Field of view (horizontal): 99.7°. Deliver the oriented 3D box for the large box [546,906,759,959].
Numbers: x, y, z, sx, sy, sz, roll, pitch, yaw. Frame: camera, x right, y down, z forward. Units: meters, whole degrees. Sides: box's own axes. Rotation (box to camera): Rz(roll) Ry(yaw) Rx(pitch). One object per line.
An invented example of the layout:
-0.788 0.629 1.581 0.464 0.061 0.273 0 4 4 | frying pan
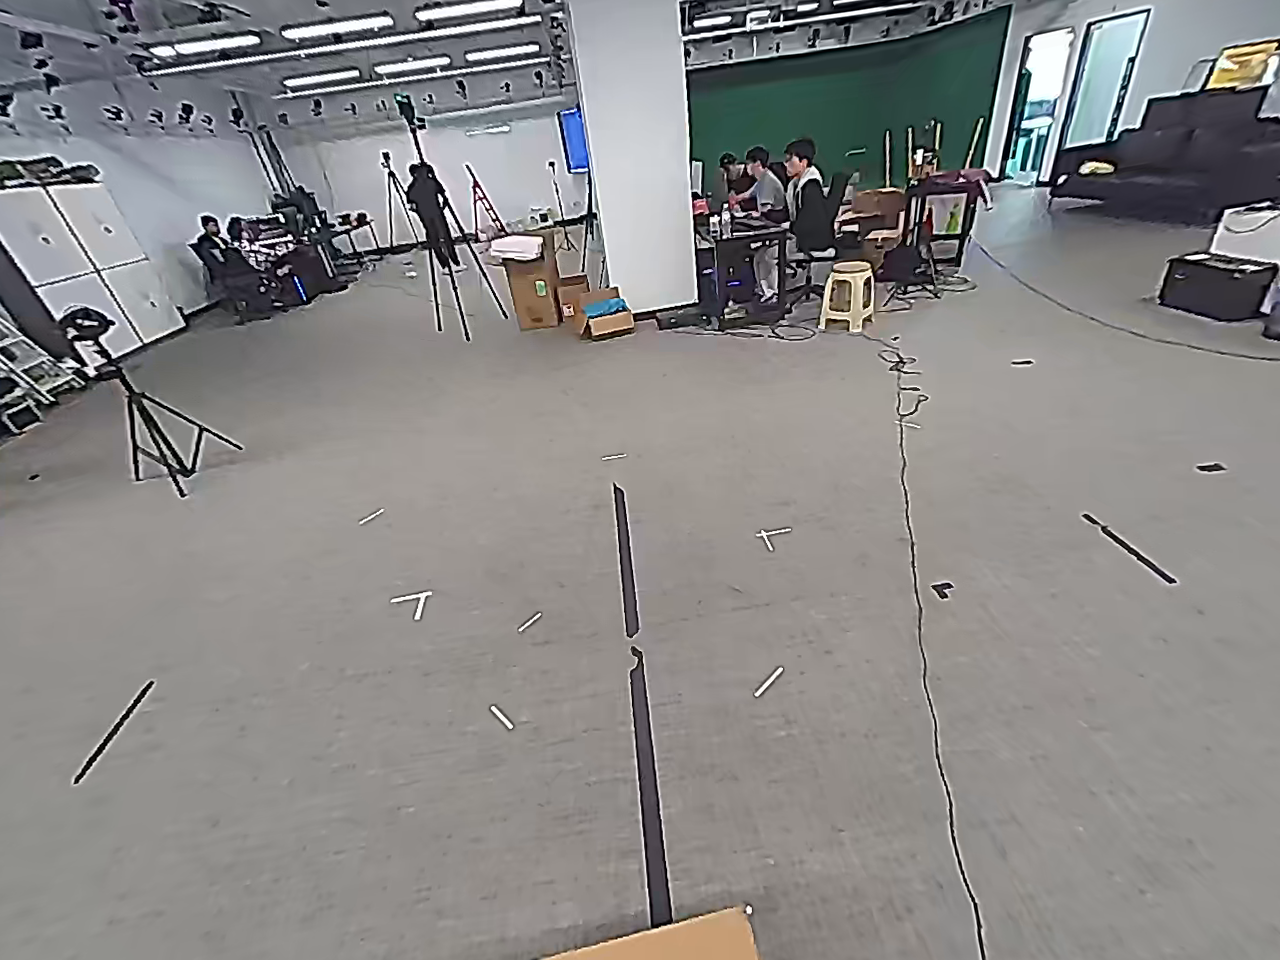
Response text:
0.043 1.035 0.938 0.408 0.320 0.320 -11 32 -4 | large box
